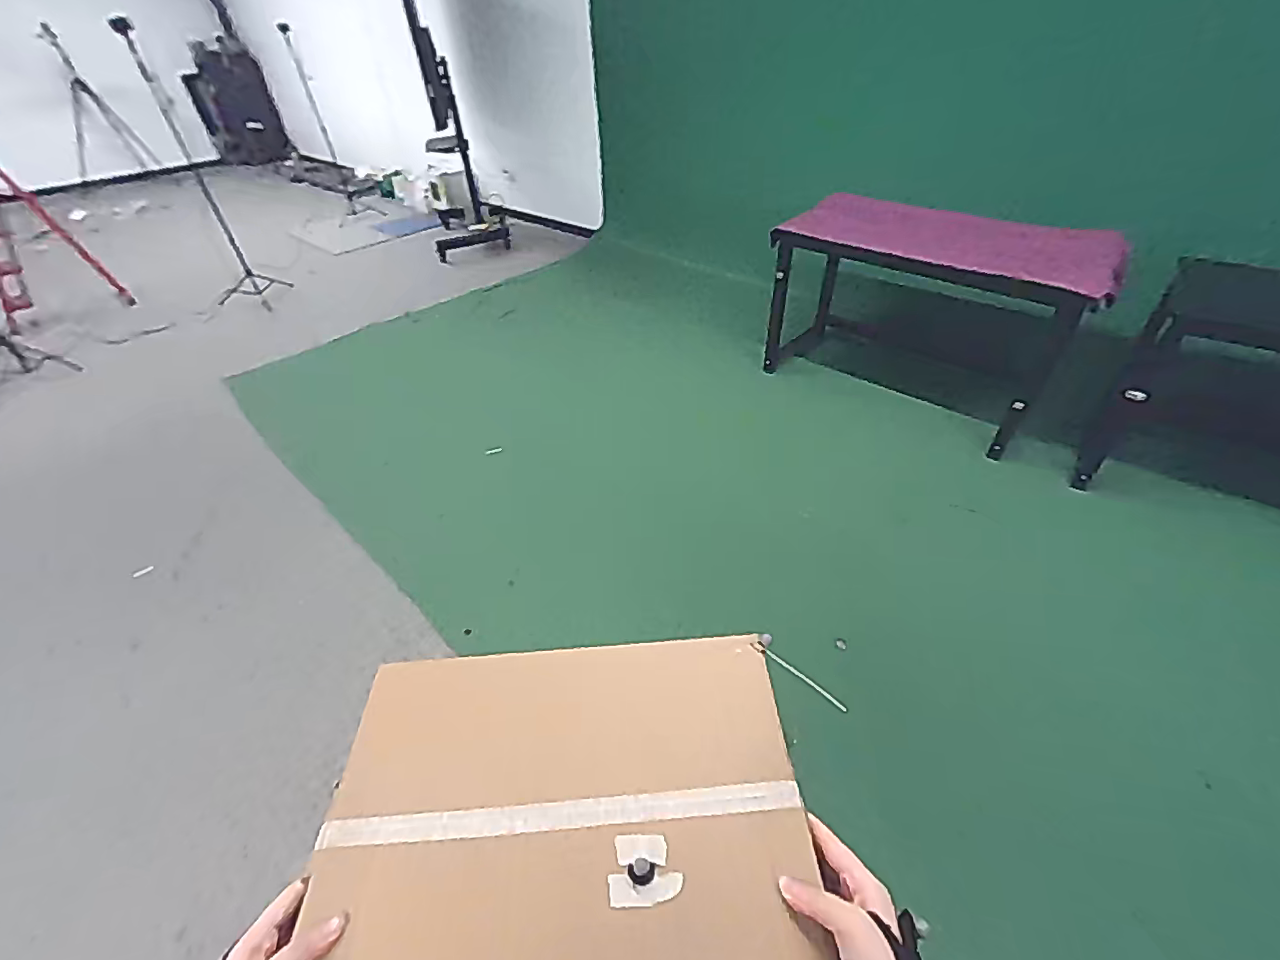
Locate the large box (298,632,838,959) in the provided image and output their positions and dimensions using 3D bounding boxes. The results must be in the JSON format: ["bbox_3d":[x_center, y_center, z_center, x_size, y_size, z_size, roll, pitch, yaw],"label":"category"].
[{"bbox_3d":[-0.059,0.392,0.574,0.408,0.320,0.320,-3,43,-1],"label":"large box"}]
